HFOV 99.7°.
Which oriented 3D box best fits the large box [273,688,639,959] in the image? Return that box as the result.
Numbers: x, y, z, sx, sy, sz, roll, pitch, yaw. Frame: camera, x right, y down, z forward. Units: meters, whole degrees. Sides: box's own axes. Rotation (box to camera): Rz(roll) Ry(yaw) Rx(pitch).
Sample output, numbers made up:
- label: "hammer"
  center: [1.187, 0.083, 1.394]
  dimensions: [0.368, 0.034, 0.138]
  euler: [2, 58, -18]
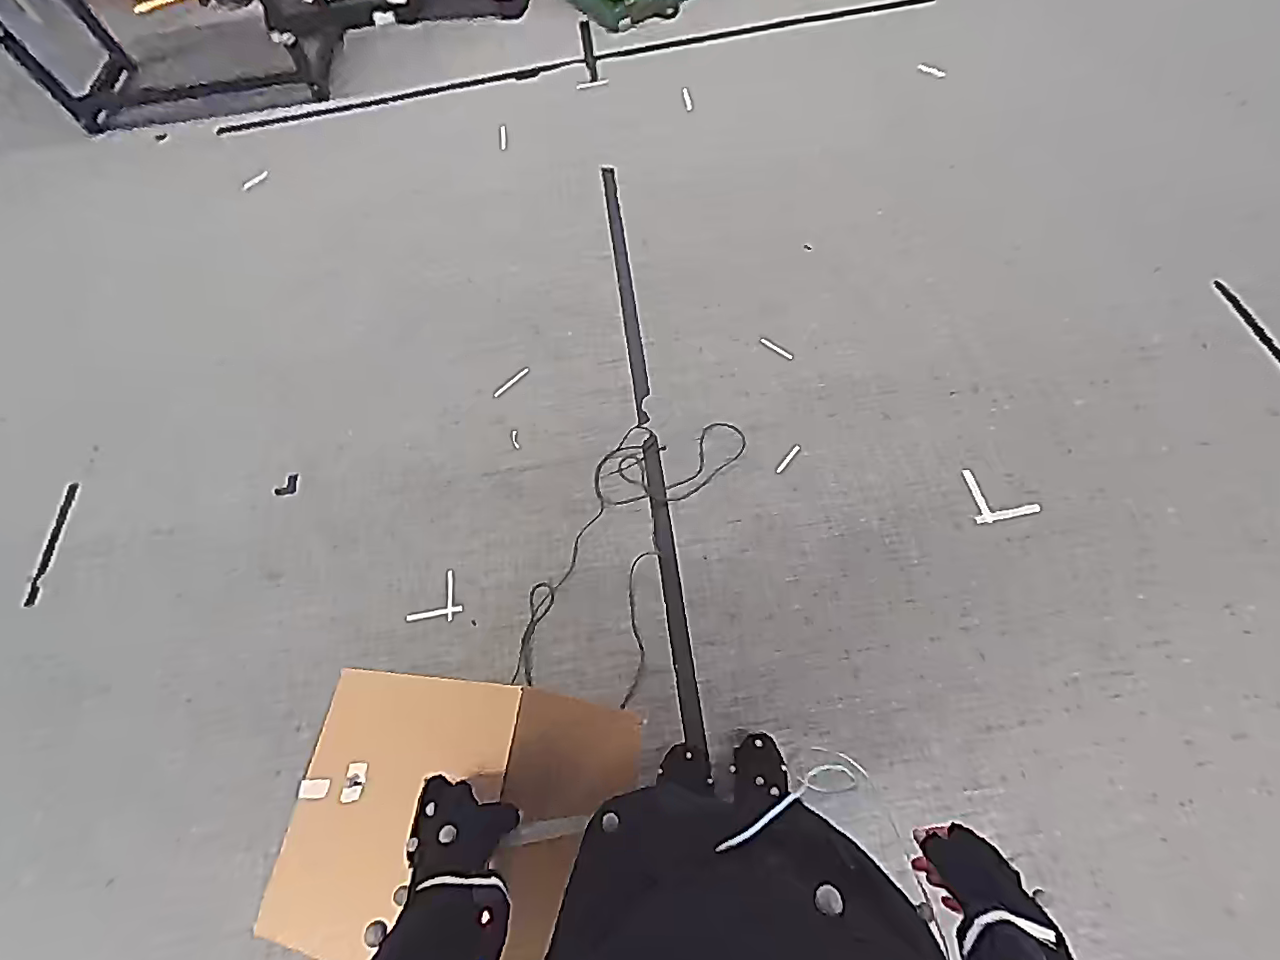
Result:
- label: "large box"
  center: [-0.226, 0.505, 0.819]
  dimensions: [0.320, 0.408, 0.320]
  euler: [-2, 63, 22]
